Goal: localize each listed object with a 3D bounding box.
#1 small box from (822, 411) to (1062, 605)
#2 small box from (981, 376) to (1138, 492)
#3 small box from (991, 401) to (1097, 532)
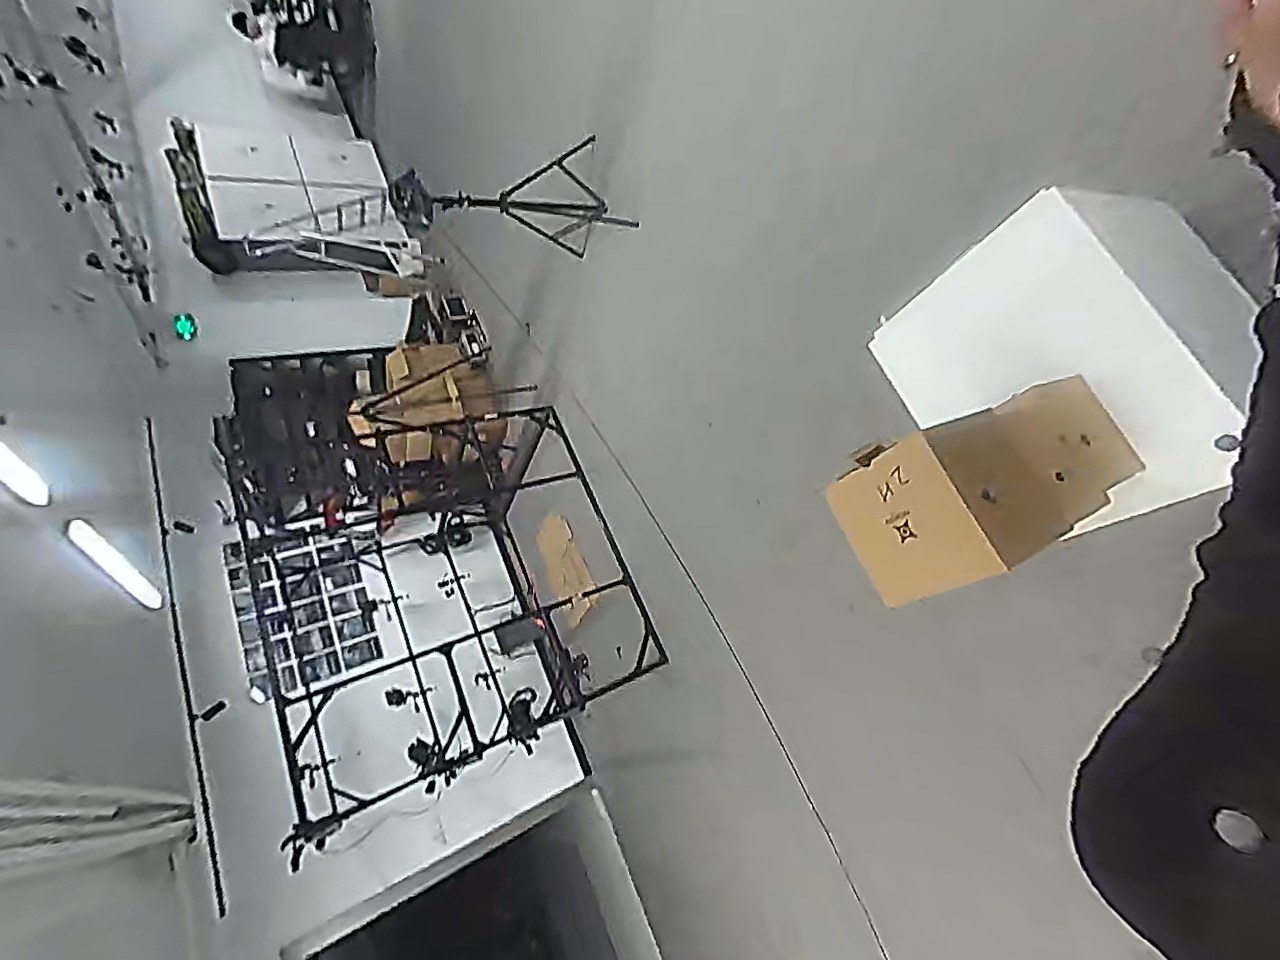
[{"bbox_3d":[0.377,0.032,0.683,0.168,0.176,0.179,-47,62,54],"label":"small box"},{"bbox_3d":[0.636,-0.048,0.867,0.168,0.176,0.179,-45,63,55],"label":"small box"},{"bbox_3d":[0.508,0.002,0.779,0.179,0.176,0.168,-43,66,56],"label":"small box"}]
